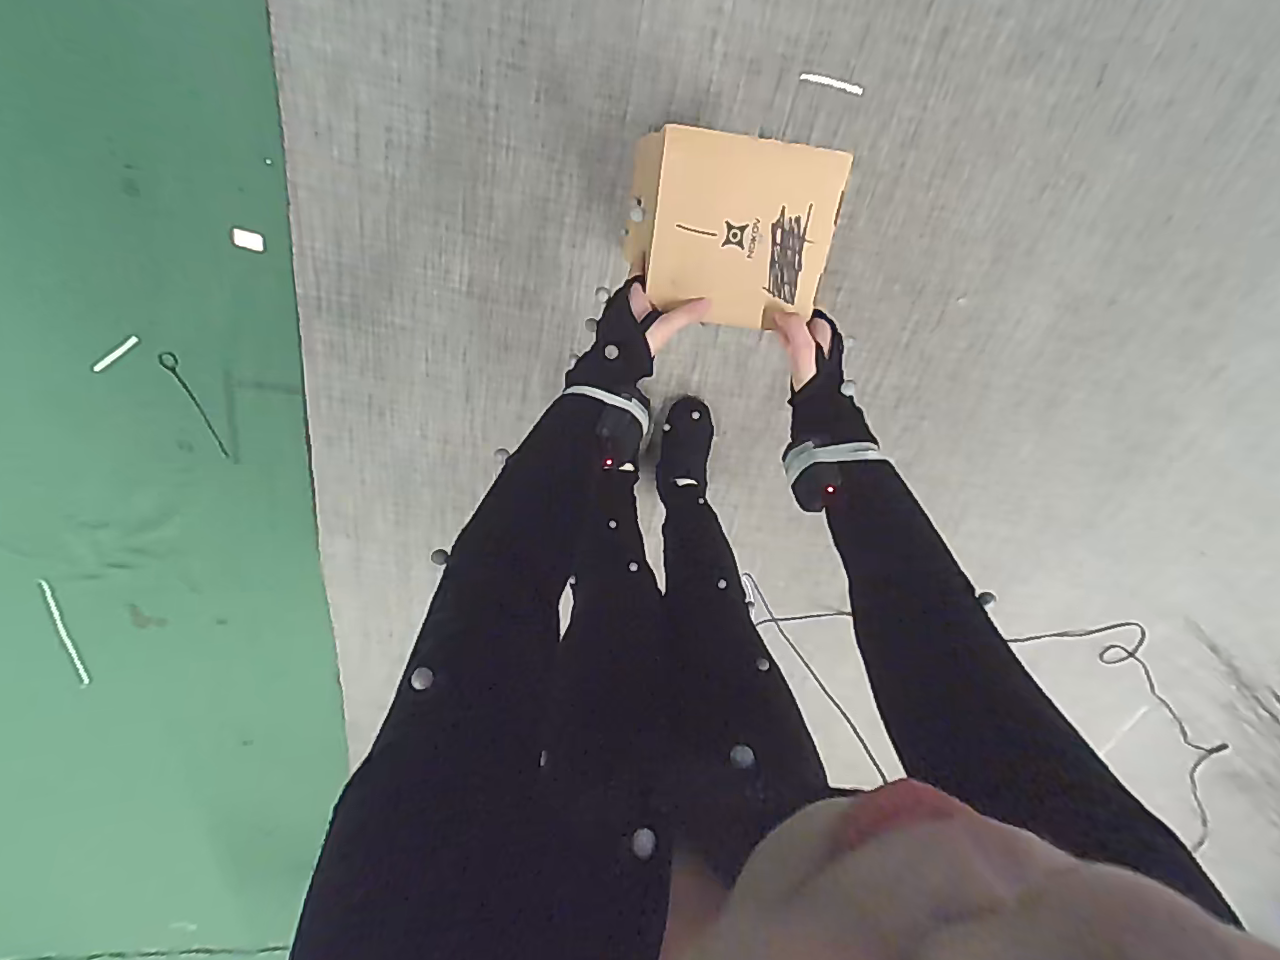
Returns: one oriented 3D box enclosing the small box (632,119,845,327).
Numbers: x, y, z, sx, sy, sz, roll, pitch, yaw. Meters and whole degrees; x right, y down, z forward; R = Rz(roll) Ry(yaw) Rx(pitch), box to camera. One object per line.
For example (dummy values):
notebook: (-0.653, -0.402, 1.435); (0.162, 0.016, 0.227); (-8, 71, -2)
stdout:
small box: (0.089, -0.277, 0.592); (0.179, 0.176, 0.168); (5, 116, -6)
